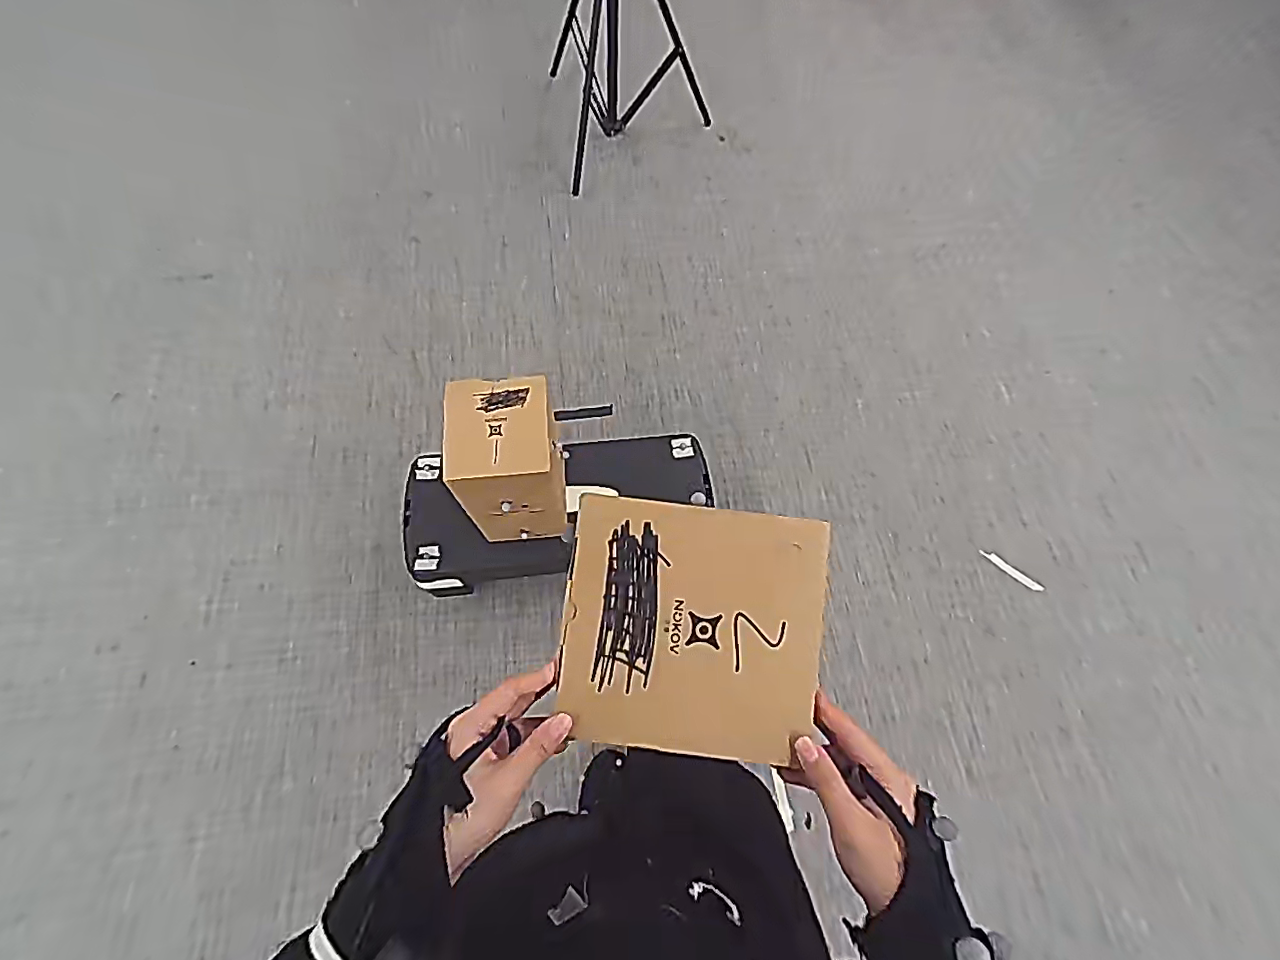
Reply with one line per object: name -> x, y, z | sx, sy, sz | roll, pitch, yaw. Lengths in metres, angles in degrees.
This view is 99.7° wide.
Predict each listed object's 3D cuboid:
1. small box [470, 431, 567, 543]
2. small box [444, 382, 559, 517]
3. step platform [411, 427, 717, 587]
small box -> -0.237, 0.017, 1.088 | 0.168, 0.176, 0.179 | -4, 68, -4
small box -> -0.231, -0.049, 0.938 | 0.168, 0.176, 0.179 | -4, 68, -5
step platform -> -0.166, 0.060, 1.263 | 0.684, 0.204, 0.286 | -6, 68, -5
